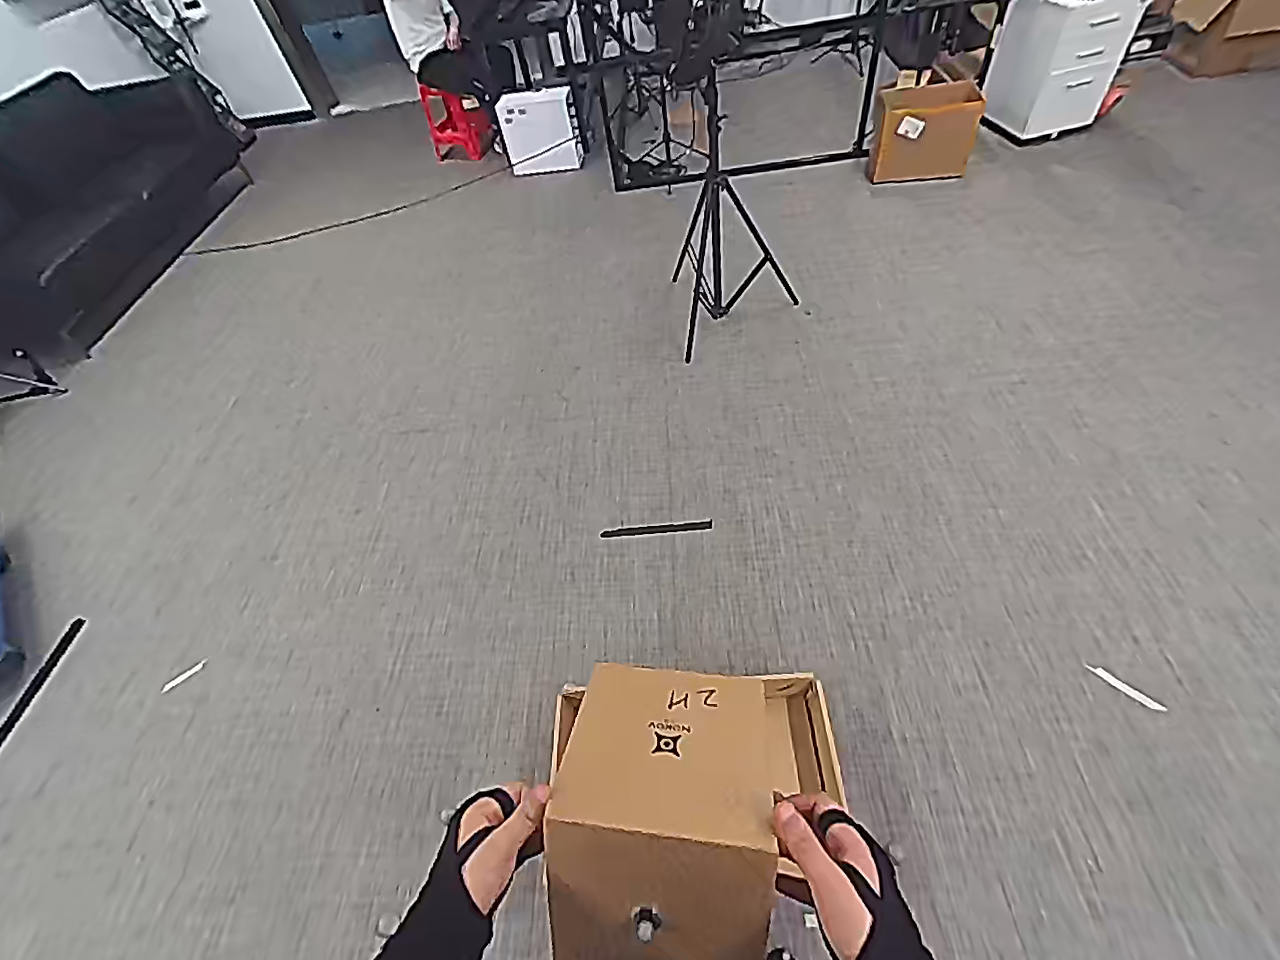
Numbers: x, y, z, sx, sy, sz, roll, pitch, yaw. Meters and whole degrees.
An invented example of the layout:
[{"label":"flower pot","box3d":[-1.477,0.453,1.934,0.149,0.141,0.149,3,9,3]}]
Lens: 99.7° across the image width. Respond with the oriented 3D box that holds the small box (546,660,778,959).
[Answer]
[{"label":"small box","box3d":[0.025,0.290,0.475,0.168,0.176,0.179,5,19,8]}]
